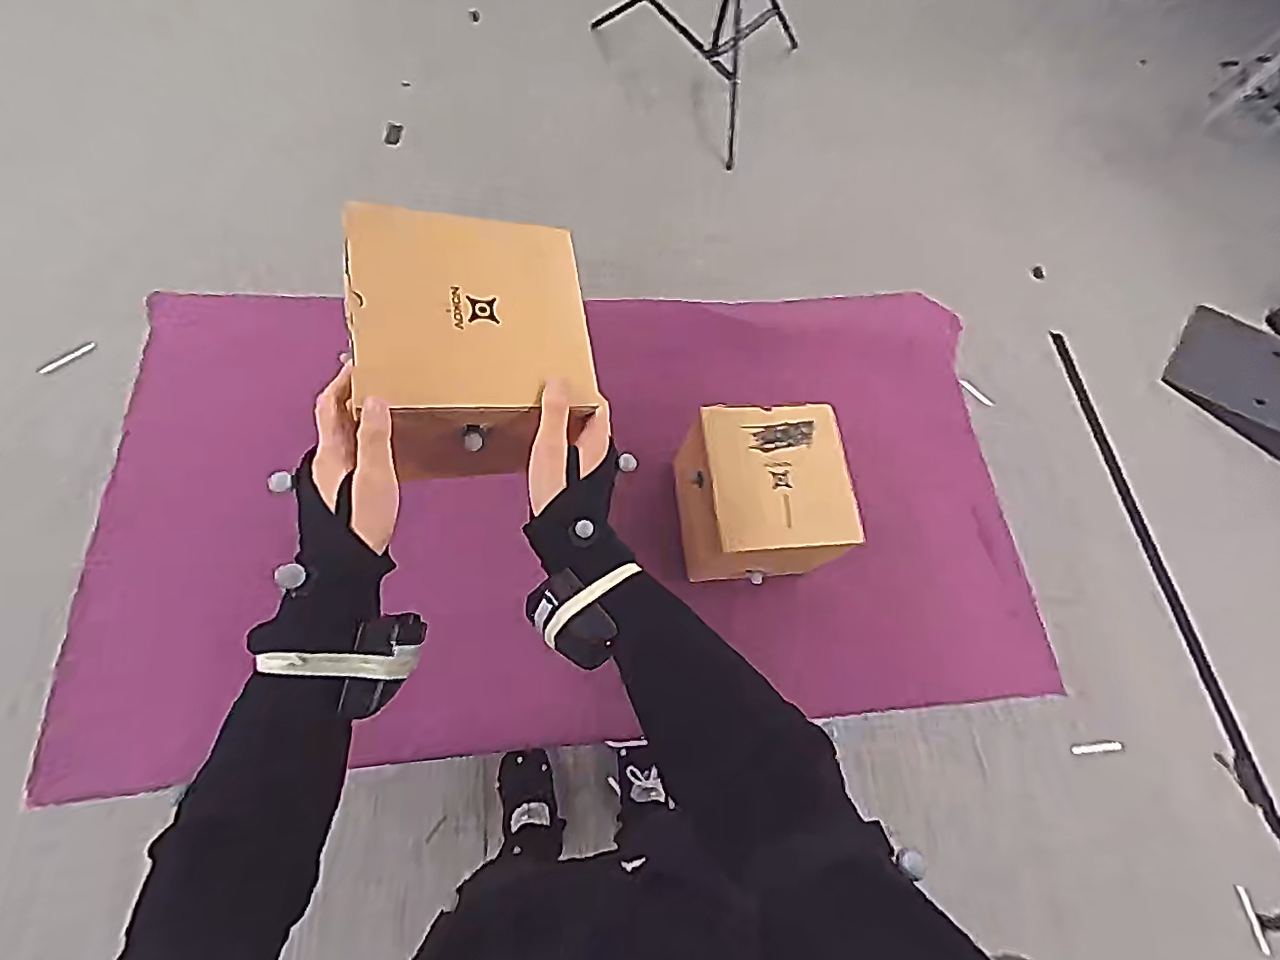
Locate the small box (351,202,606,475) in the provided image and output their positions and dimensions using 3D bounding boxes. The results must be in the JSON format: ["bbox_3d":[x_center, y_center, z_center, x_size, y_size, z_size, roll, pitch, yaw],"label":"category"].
[{"bbox_3d":[-0.147,-0.107,0.477,0.179,0.176,0.168,-5,76,-24],"label":"small box"}]

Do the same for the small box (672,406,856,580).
[{"bbox_3d":[0.142,0.021,0.690,0.168,0.176,0.179,-3,70,-9],"label":"small box"}]
